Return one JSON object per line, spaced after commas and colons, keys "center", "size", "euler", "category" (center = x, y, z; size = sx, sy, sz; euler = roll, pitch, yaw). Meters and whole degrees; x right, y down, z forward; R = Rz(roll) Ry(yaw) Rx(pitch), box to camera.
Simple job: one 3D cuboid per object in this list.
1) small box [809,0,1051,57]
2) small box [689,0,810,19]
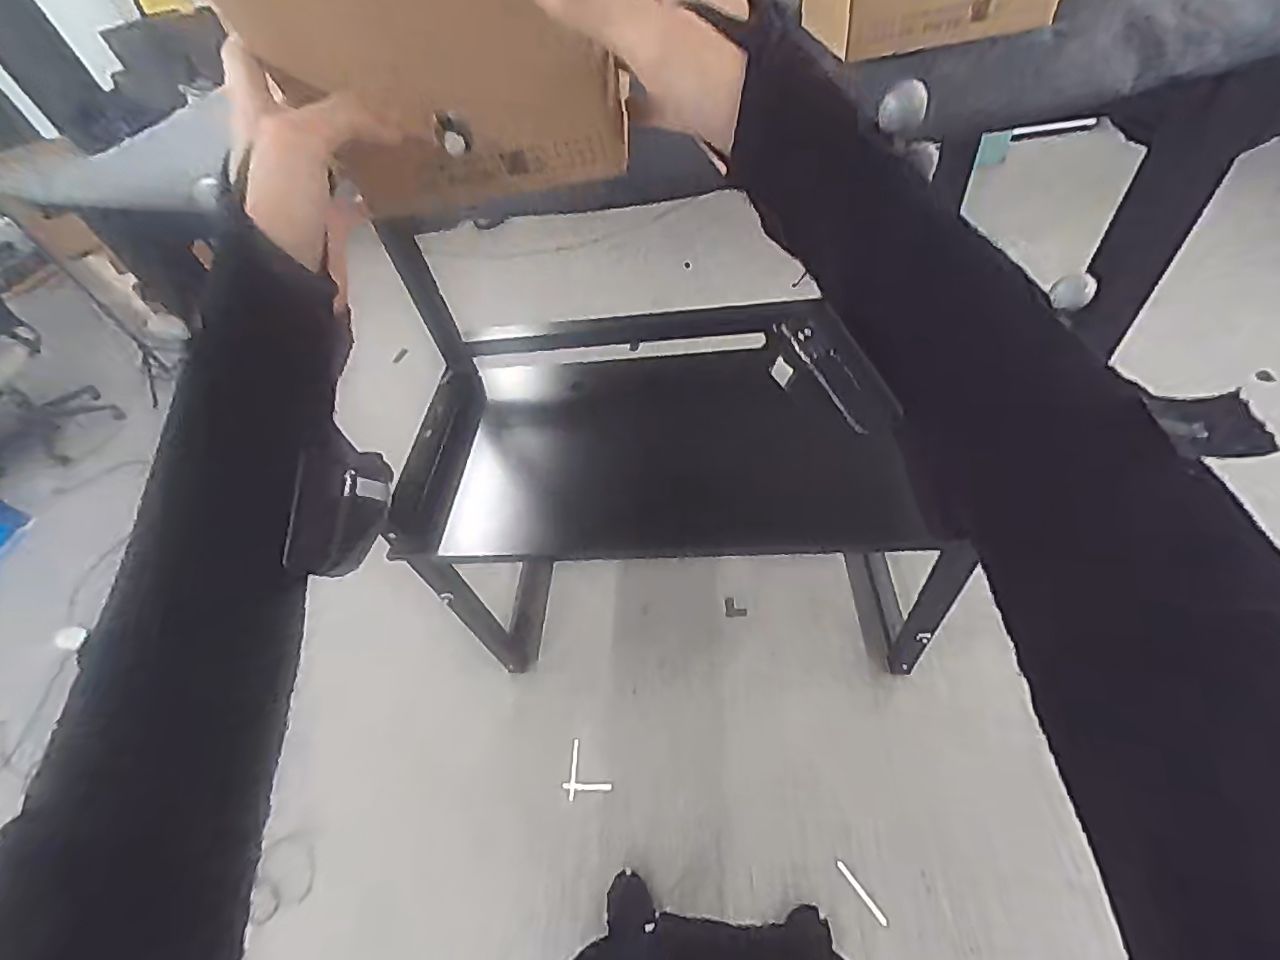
{"center": [0.246, -0.482, 0.453], "size": [0.168, 0.176, 0.179], "euler": [-6, 48, 6], "category": "small box"}
{"center": [0.136, -0.676, 0.641], "size": [0.168, 0.176, 0.179], "euler": [-4, 49, 7], "category": "small box"}
